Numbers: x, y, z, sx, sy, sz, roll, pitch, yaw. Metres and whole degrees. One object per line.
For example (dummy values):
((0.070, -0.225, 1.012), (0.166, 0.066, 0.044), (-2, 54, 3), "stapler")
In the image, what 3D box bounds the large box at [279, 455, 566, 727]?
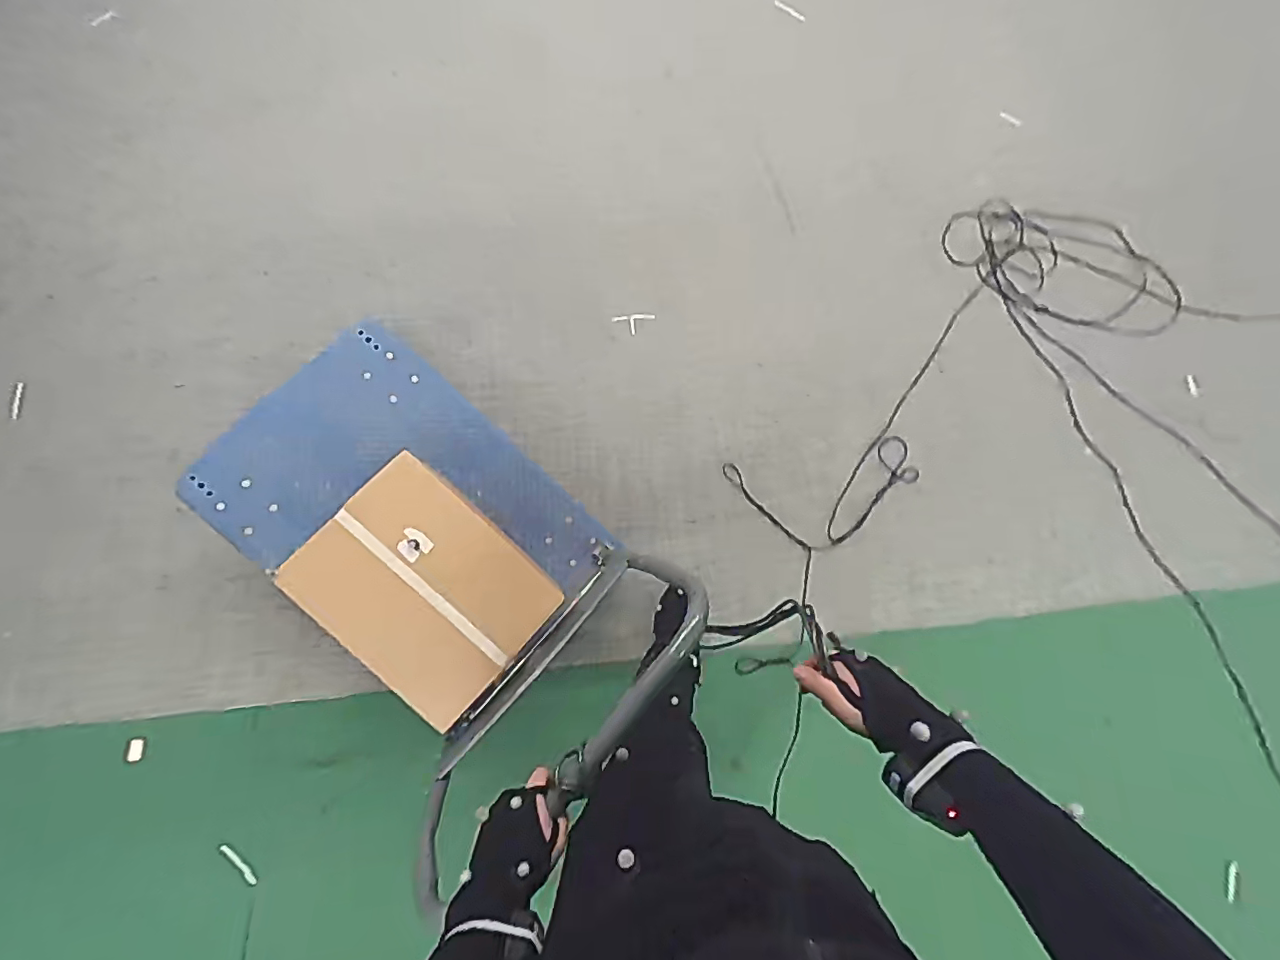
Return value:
((-0.400, 0.213, 1.110), (0.408, 0.320, 0.320), (43, 77, -1), "large box")
